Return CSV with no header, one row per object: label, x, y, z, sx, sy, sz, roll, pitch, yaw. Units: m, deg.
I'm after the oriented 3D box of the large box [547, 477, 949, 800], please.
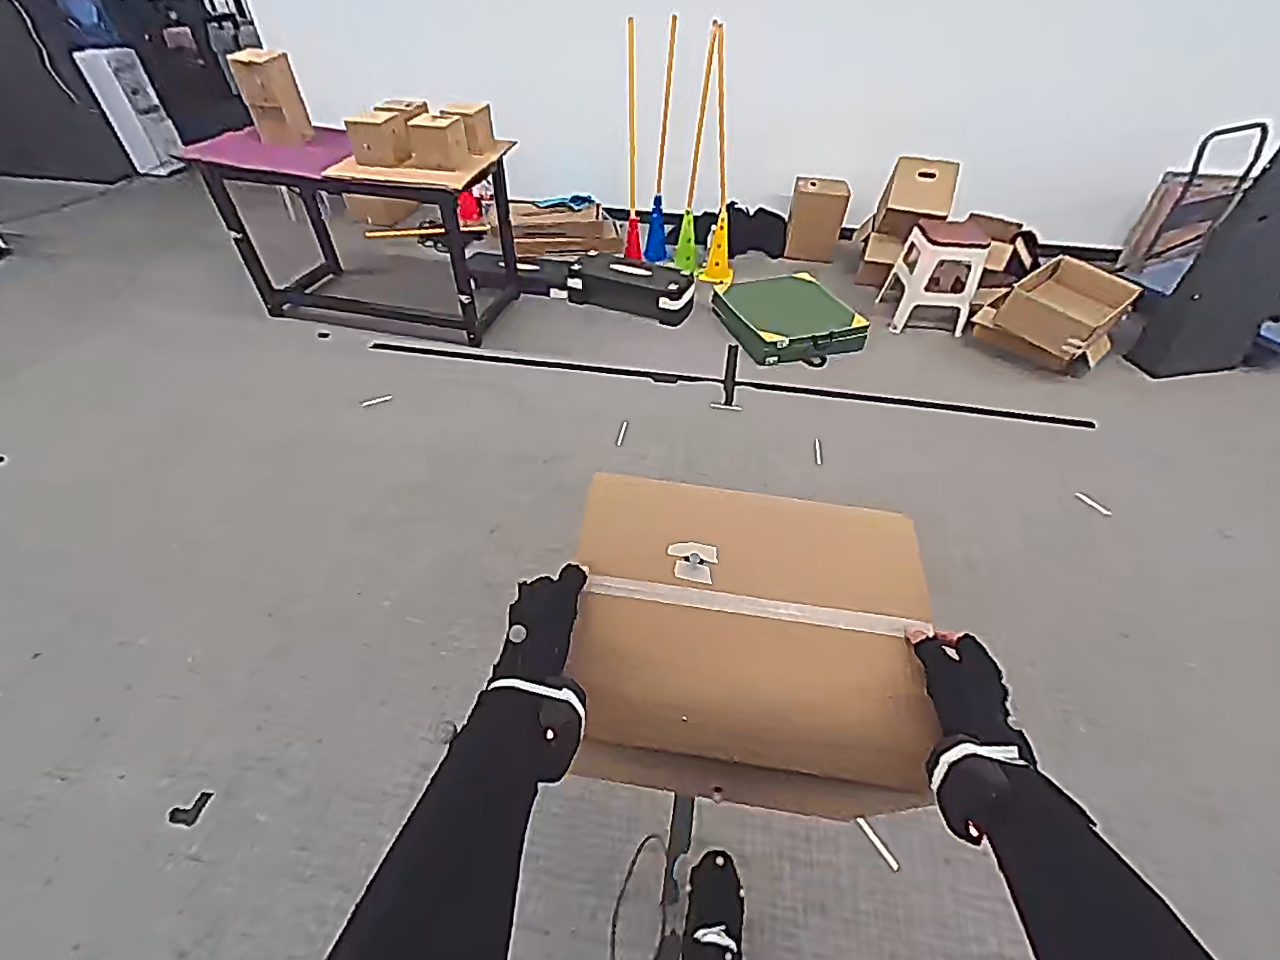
large box,0.119,0.226,0.736,0.408,0.320,0.320,7,54,3
